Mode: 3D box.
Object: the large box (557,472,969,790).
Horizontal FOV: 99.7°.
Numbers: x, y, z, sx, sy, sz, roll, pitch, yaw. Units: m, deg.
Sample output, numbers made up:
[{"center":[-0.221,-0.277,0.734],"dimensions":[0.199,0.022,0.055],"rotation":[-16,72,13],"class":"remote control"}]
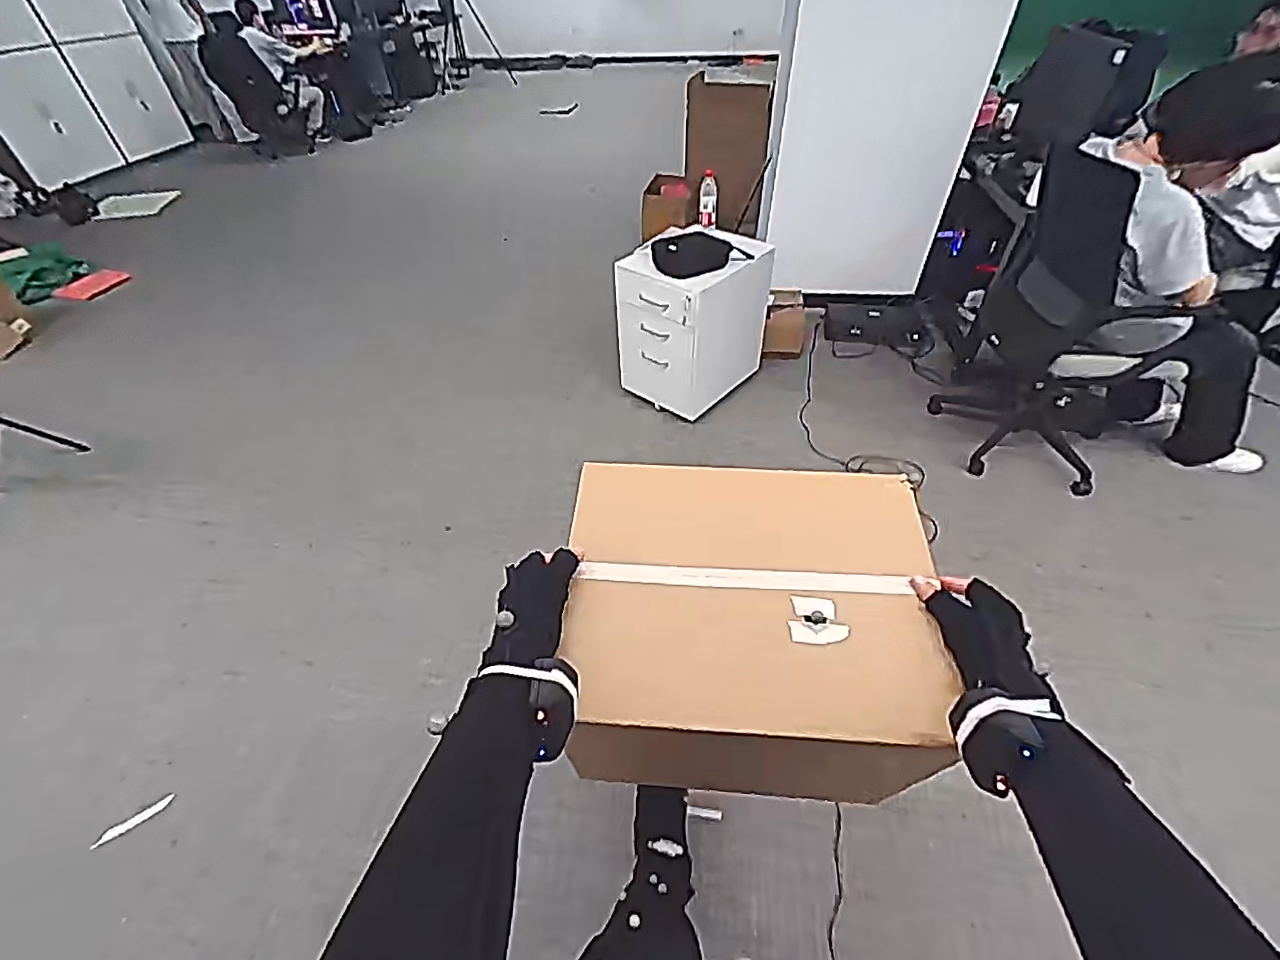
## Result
[{"center":[0.125,0.207,0.725],"dimensions":[0.408,0.320,0.320],"rotation":[2,52,4],"class":"large box"}]
